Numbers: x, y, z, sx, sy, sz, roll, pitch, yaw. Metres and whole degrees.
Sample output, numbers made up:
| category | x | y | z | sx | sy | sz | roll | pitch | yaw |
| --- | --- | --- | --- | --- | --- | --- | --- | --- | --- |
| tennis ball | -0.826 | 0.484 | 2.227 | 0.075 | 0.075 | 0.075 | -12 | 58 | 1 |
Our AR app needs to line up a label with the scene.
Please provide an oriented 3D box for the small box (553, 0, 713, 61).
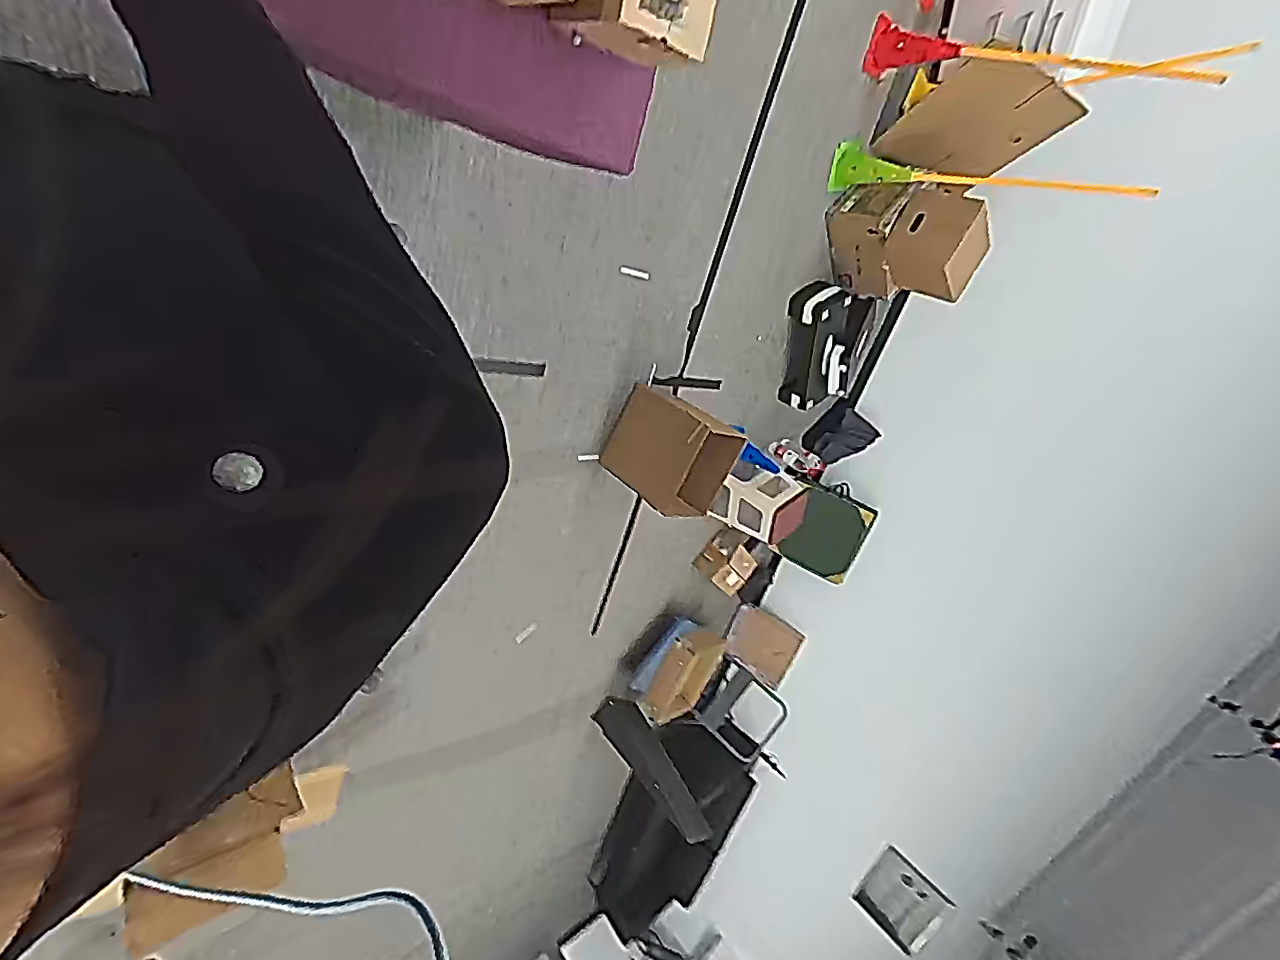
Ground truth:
| category | x | y | z | sx | sy | sz | roll | pitch | yaw |
| --- | --- | --- | --- | --- | --- | --- | --- | --- | --- |
| small box | -0.006 | -0.719 | 0.755 | 0.168 | 0.176 | 0.179 | -13 | 127 | -42 |
